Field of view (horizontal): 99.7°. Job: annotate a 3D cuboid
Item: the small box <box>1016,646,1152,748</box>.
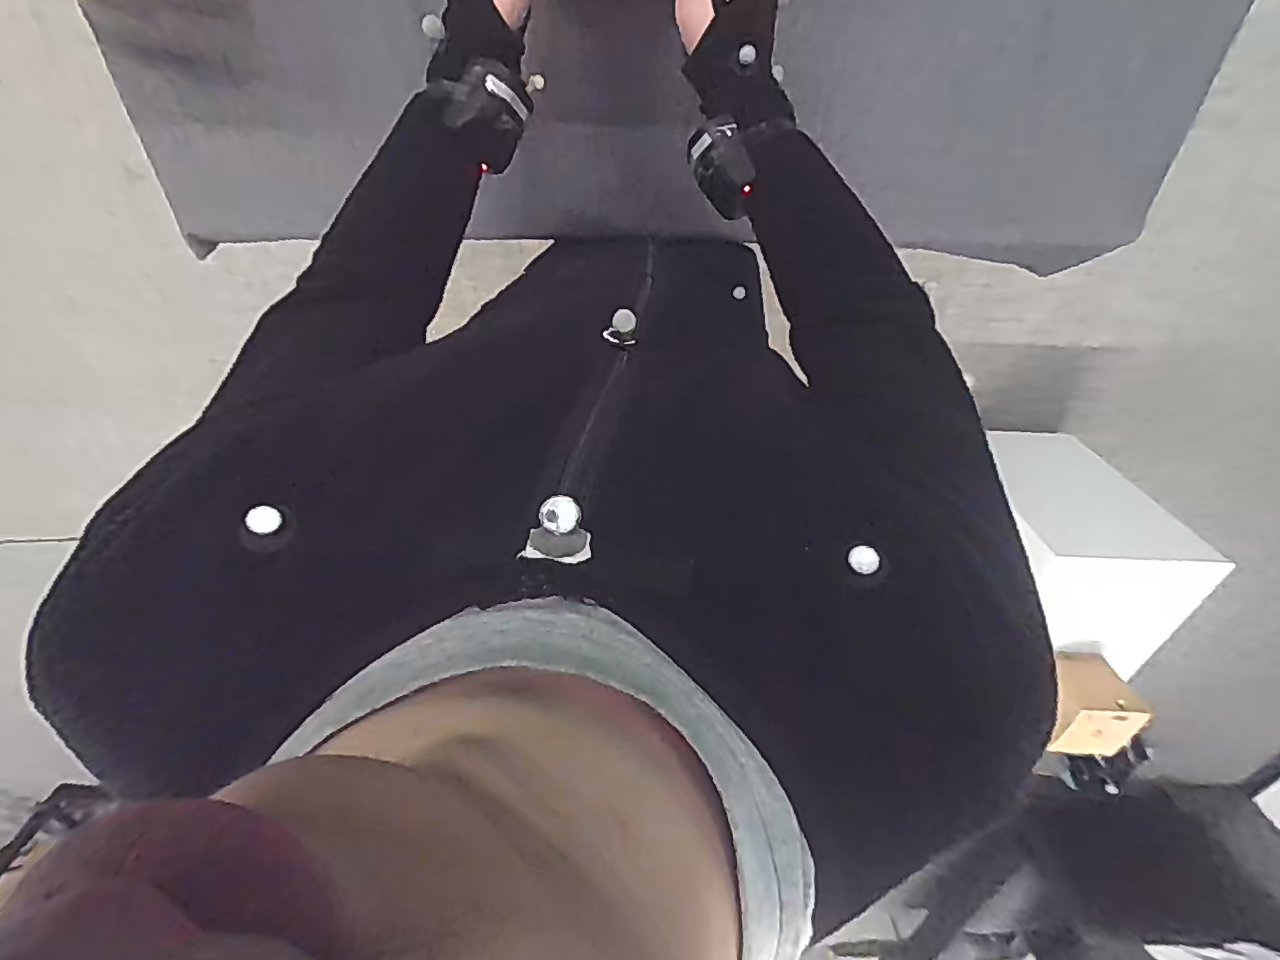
[{"bbox_3d":[1.086,0.540,1.347,0.168,0.176,0.179,2,124,-4],"label":"small box"}]
